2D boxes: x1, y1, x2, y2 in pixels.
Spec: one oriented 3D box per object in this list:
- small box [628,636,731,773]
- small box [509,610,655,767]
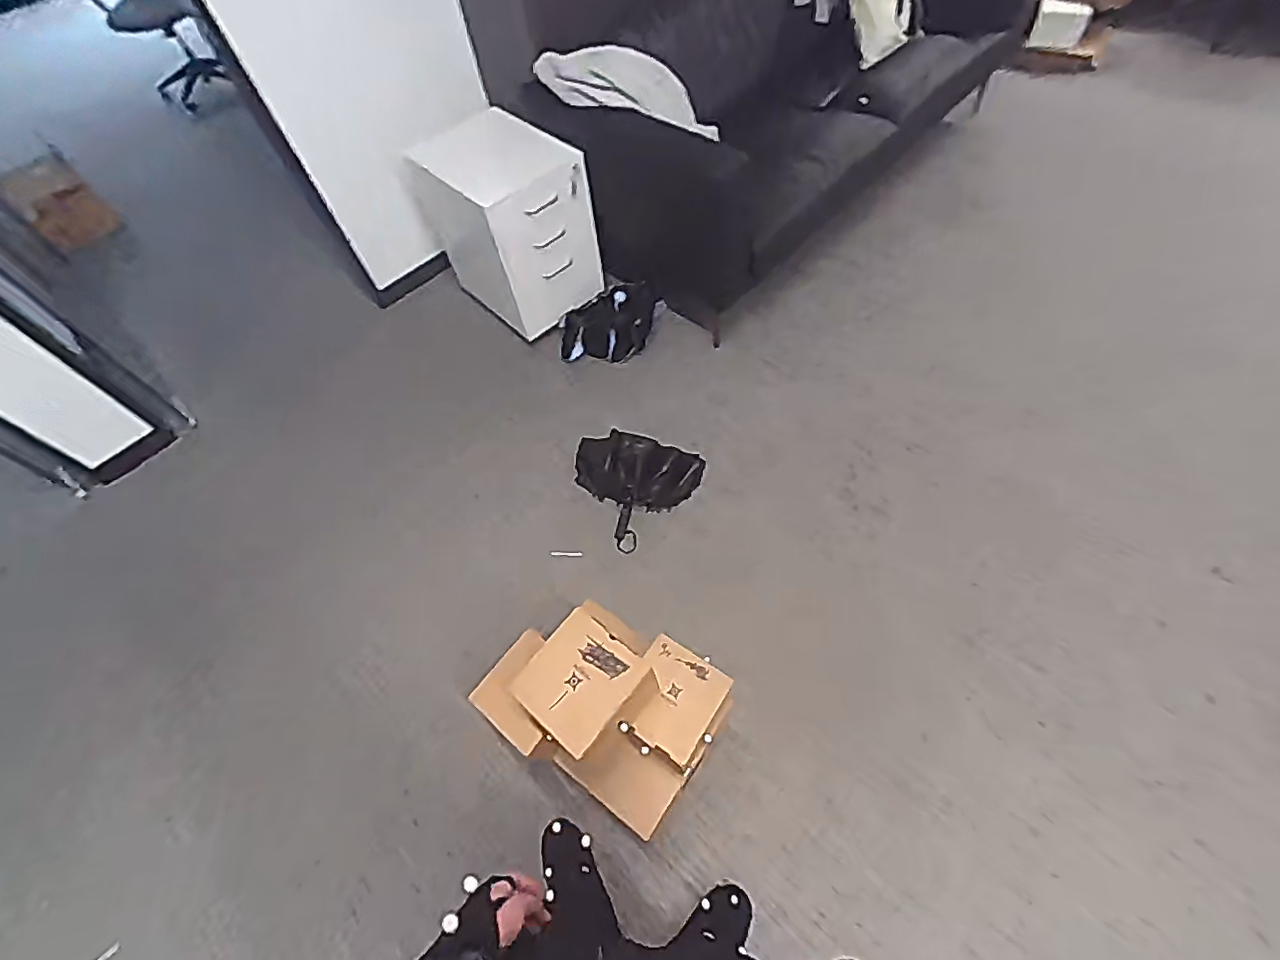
[{"bbox_3d":[0.064,0.442,1.055,0.168,0.176,0.179,29,65,22],"label":"small box"},{"bbox_3d":[-0.088,0.360,0.929,0.168,0.176,0.179,34,69,25],"label":"small box"}]
